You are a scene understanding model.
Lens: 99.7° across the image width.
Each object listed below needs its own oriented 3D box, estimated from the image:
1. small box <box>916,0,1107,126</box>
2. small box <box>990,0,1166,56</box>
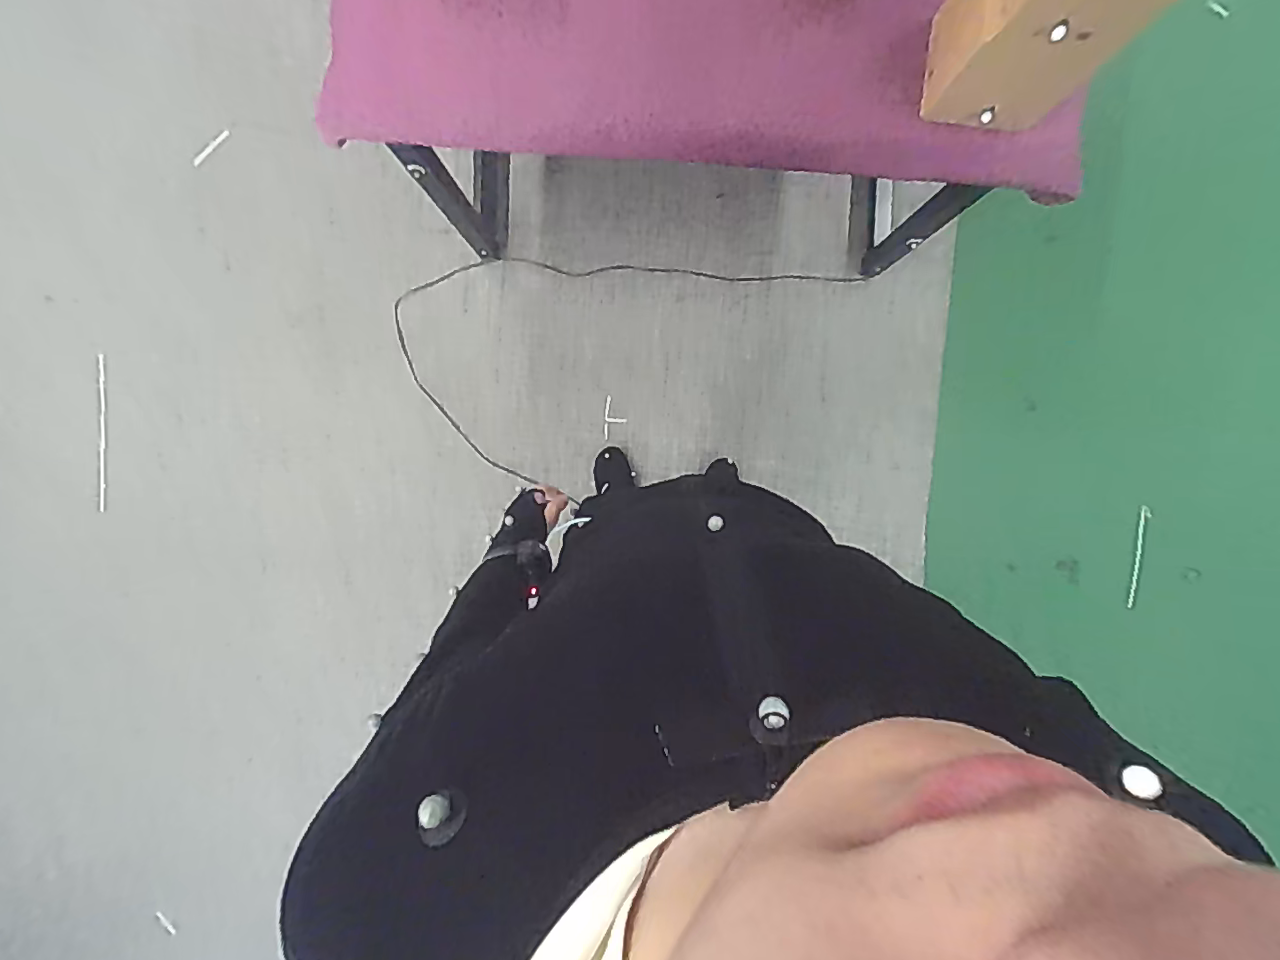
[{"bbox_3d":[0.543,-0.655,0.792,0.179,0.176,0.168,7,92,0],"label":"small box"},{"bbox_3d":[0.544,-0.651,0.629,0.168,0.176,0.179,7,92,2],"label":"small box"}]
